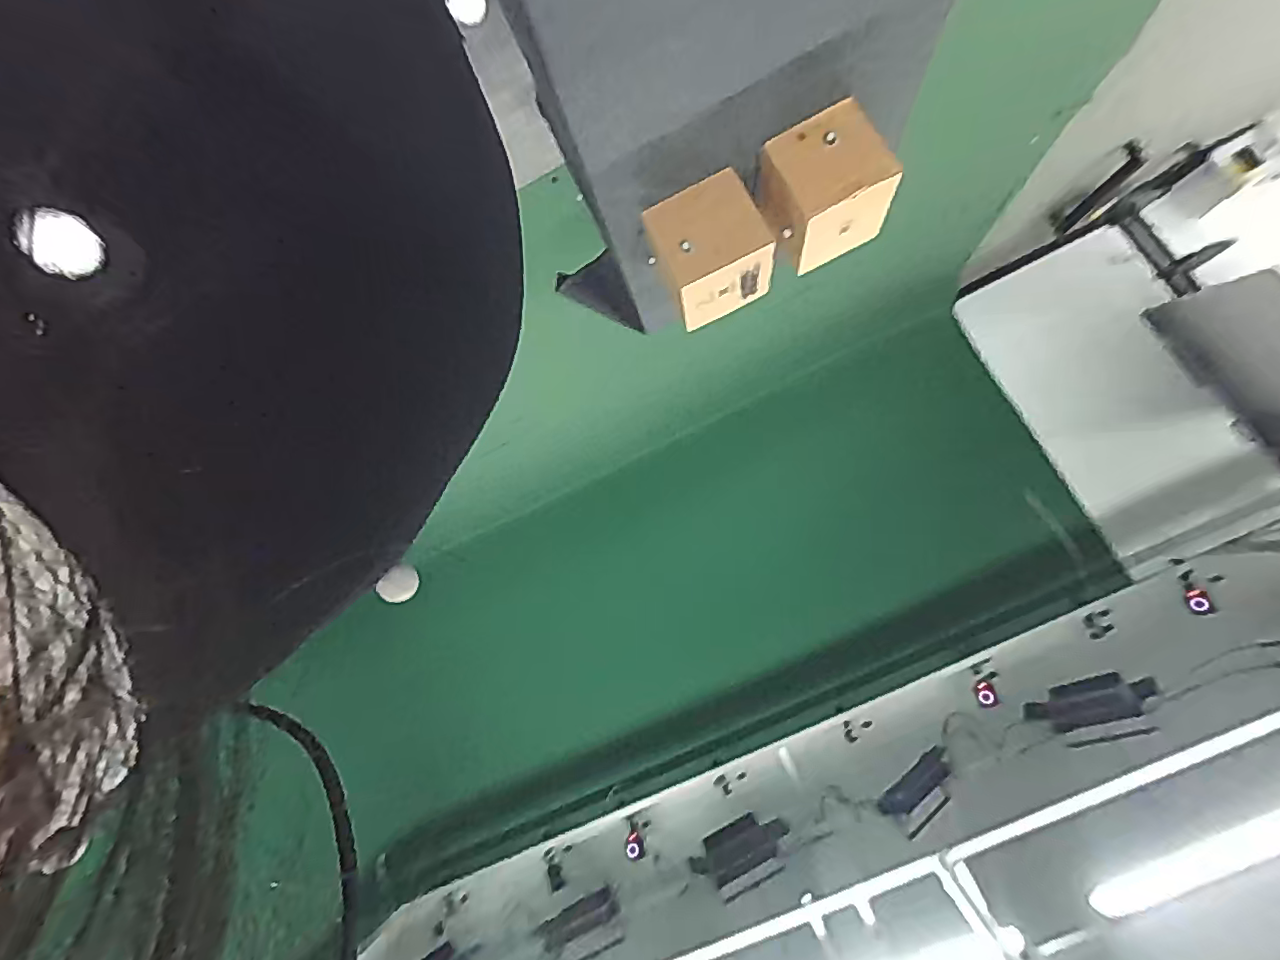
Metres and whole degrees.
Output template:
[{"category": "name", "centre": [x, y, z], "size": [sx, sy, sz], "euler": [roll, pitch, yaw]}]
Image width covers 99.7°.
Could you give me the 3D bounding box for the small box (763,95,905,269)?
[{"category": "small box", "centre": [0.330, -0.522, 0.961], "size": [0.168, 0.176, 0.179], "euler": [-26, 166, 6]}]
